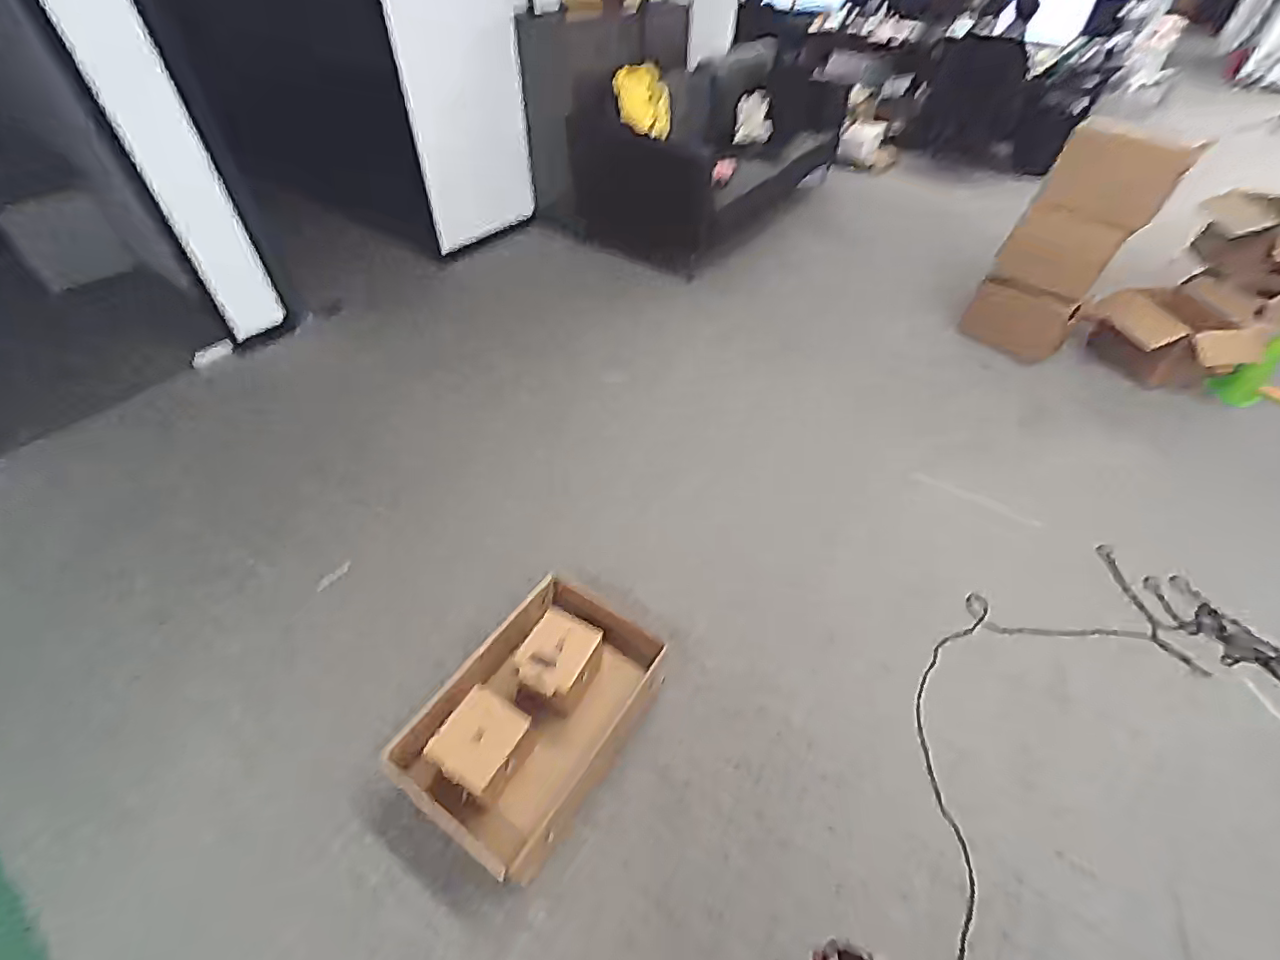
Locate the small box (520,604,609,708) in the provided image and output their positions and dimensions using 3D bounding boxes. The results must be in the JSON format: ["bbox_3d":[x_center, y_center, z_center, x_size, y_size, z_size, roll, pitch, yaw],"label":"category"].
[{"bbox_3d":[-0.190,0.471,1.438,0.168,0.176,0.179,22,51,17],"label":"small box"}]

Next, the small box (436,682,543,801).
[{"bbox_3d":[-0.347,0.627,1.290,0.168,0.176,0.179,25,50,19],"label":"small box"}]
